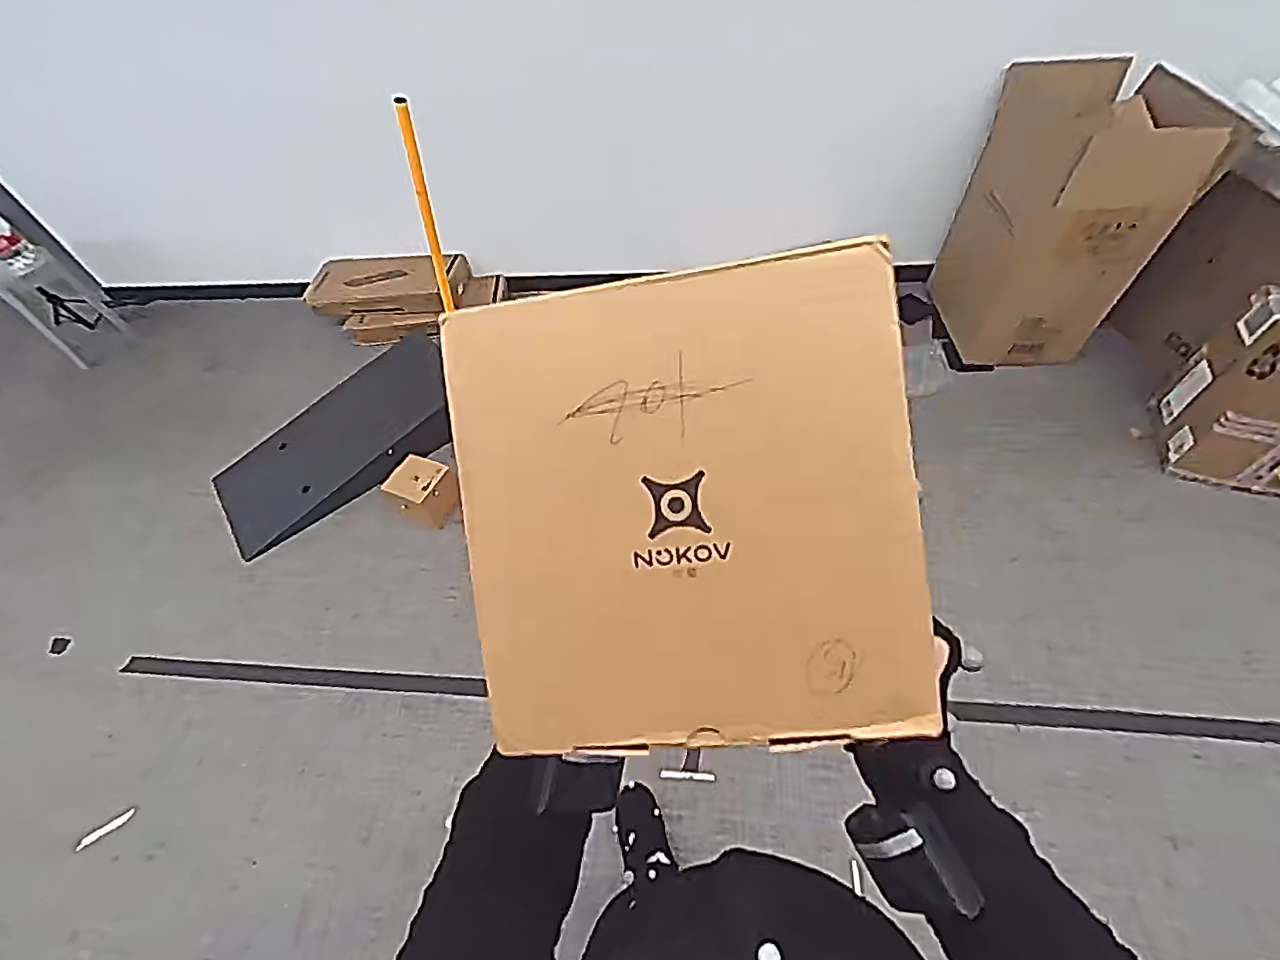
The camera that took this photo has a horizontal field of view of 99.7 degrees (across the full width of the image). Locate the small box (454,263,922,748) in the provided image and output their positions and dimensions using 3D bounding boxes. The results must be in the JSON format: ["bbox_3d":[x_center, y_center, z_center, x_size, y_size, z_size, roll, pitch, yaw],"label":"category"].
[{"bbox_3d":[0.026,0.013,0.290,0.168,0.176,0.179,-8,90,8],"label":"small box"}]
